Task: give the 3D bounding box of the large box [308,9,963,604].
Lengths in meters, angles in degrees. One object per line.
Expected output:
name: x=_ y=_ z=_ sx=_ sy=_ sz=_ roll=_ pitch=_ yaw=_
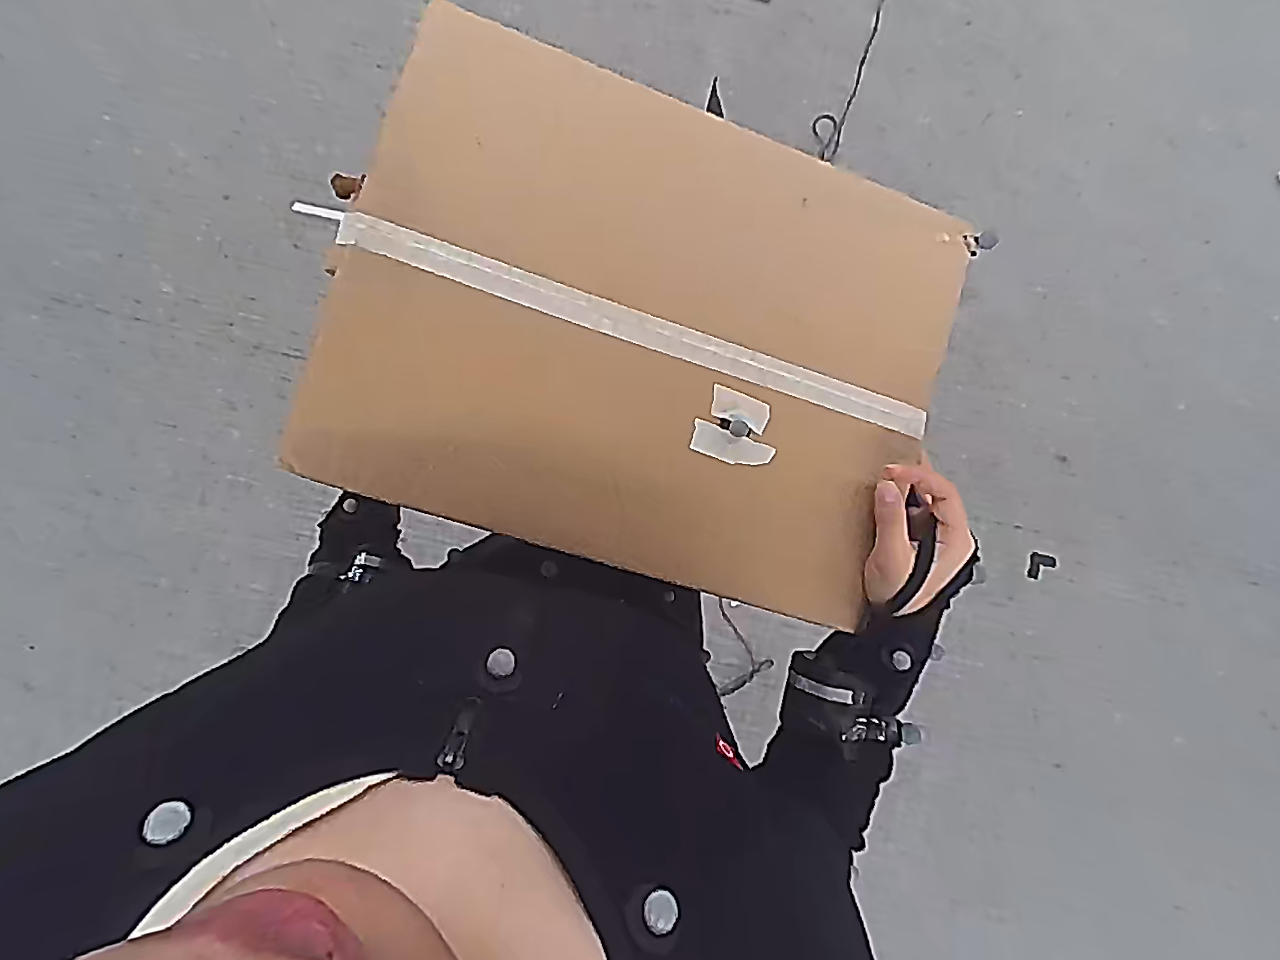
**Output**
large box: x=-0.007 y=-0.107 z=0.520 sx=0.408 sy=0.320 sz=0.320 roll=17 pitch=88 yaw=-10
